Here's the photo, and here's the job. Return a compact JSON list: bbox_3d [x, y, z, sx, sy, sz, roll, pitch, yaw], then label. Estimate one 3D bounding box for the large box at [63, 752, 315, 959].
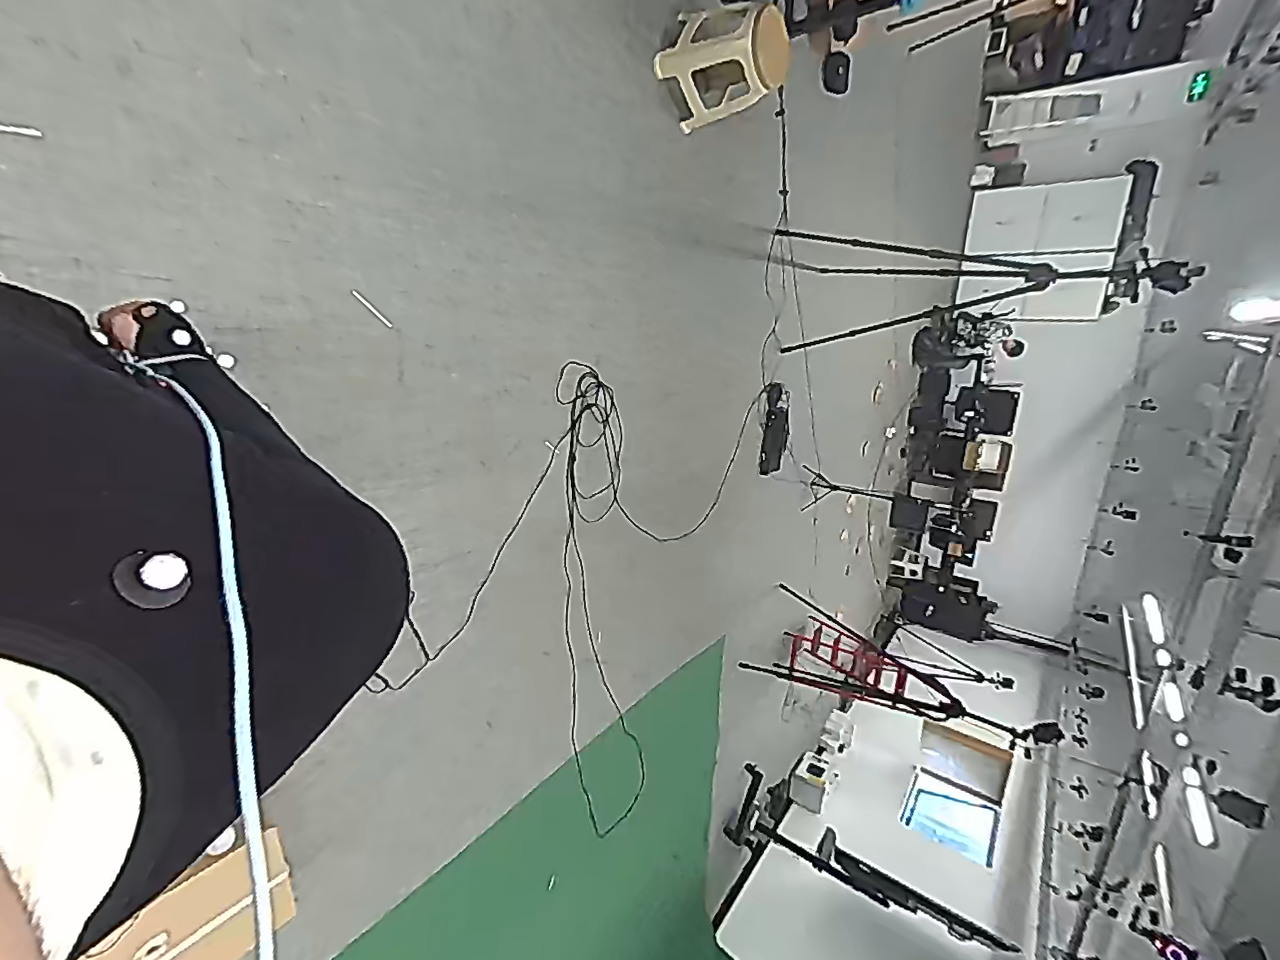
[{"bbox_3d":[-1.135,1.004,1.387,0.408,0.320,0.320,-21,116,-47],"label":"large box"}]
